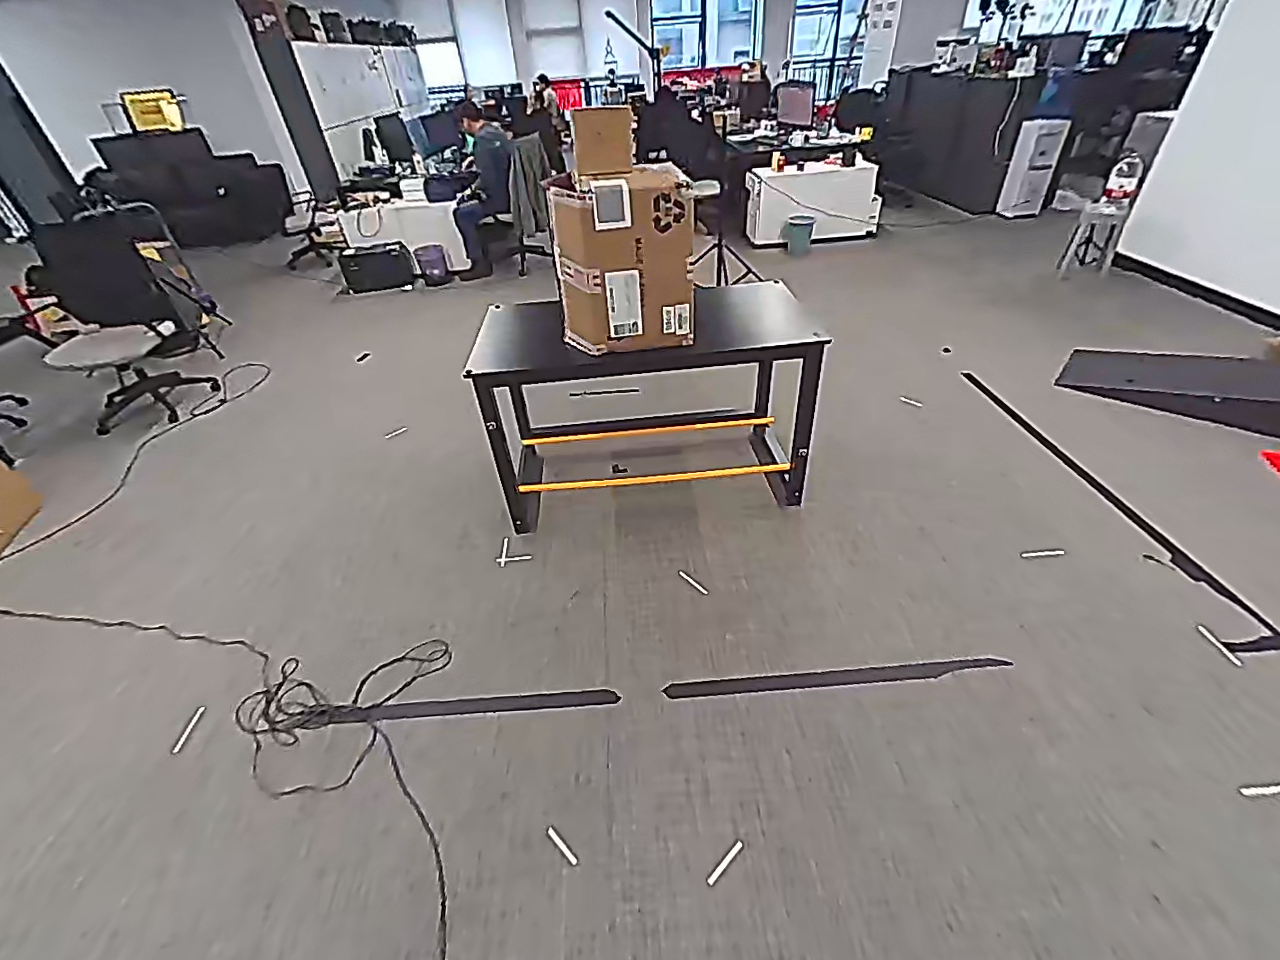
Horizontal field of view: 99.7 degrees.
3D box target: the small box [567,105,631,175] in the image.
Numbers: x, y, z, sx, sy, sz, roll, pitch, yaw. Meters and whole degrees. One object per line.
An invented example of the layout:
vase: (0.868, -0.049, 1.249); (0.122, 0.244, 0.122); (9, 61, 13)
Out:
small box: (-0.126, -1.050, 1.670); (0.179, 0.176, 0.168); (-7, 36, -5)
